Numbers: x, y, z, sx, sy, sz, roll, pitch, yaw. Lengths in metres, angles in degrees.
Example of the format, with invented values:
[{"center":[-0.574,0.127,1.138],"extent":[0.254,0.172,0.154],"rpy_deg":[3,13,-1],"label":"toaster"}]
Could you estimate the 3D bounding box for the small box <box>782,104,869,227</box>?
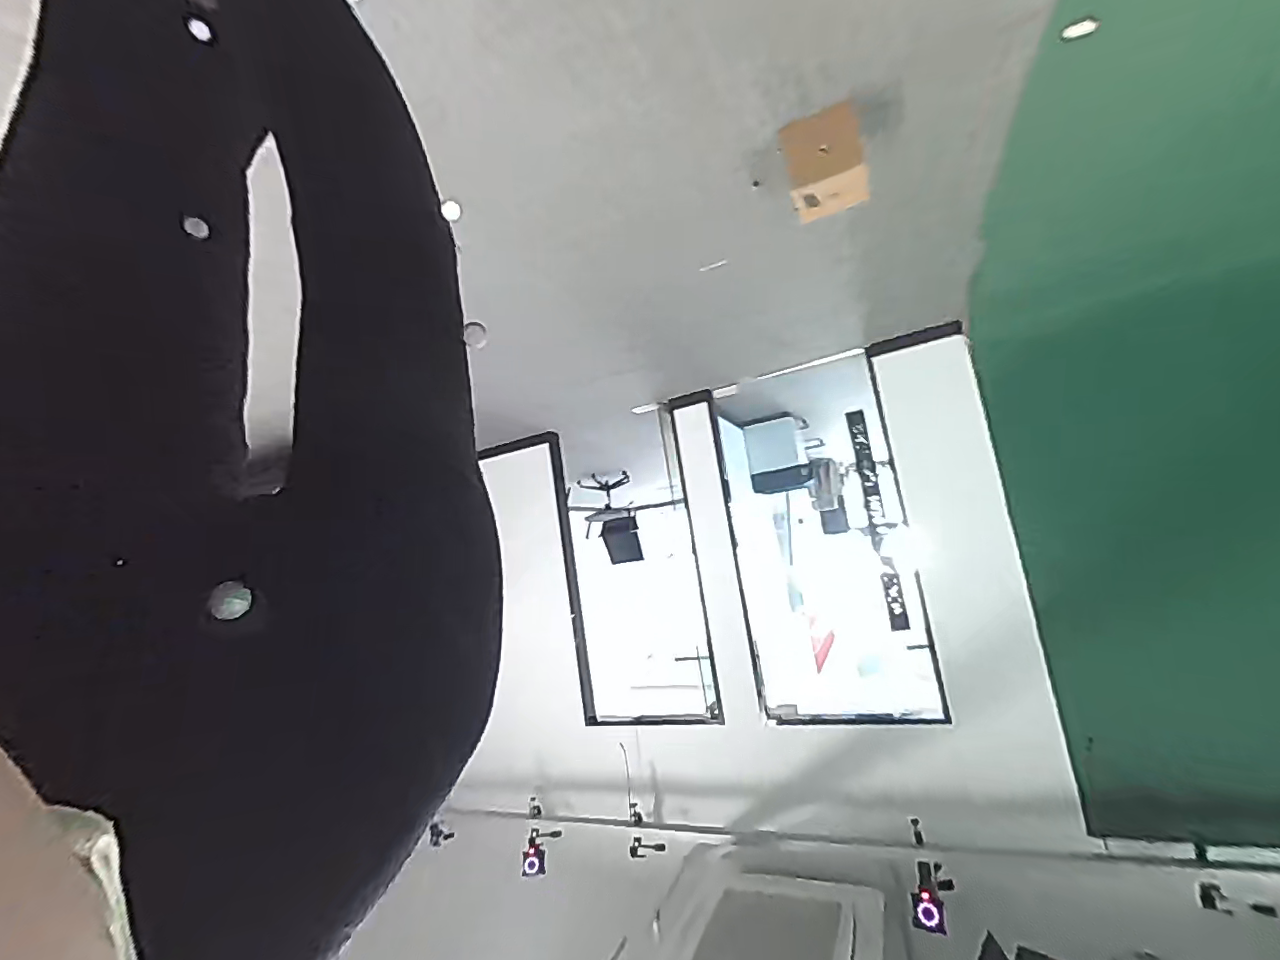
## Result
[{"center":[0.460,-0.776,1.344],"extent":[0.179,0.176,0.168],"rpy_deg":[-13,172,22],"label":"small box"}]
